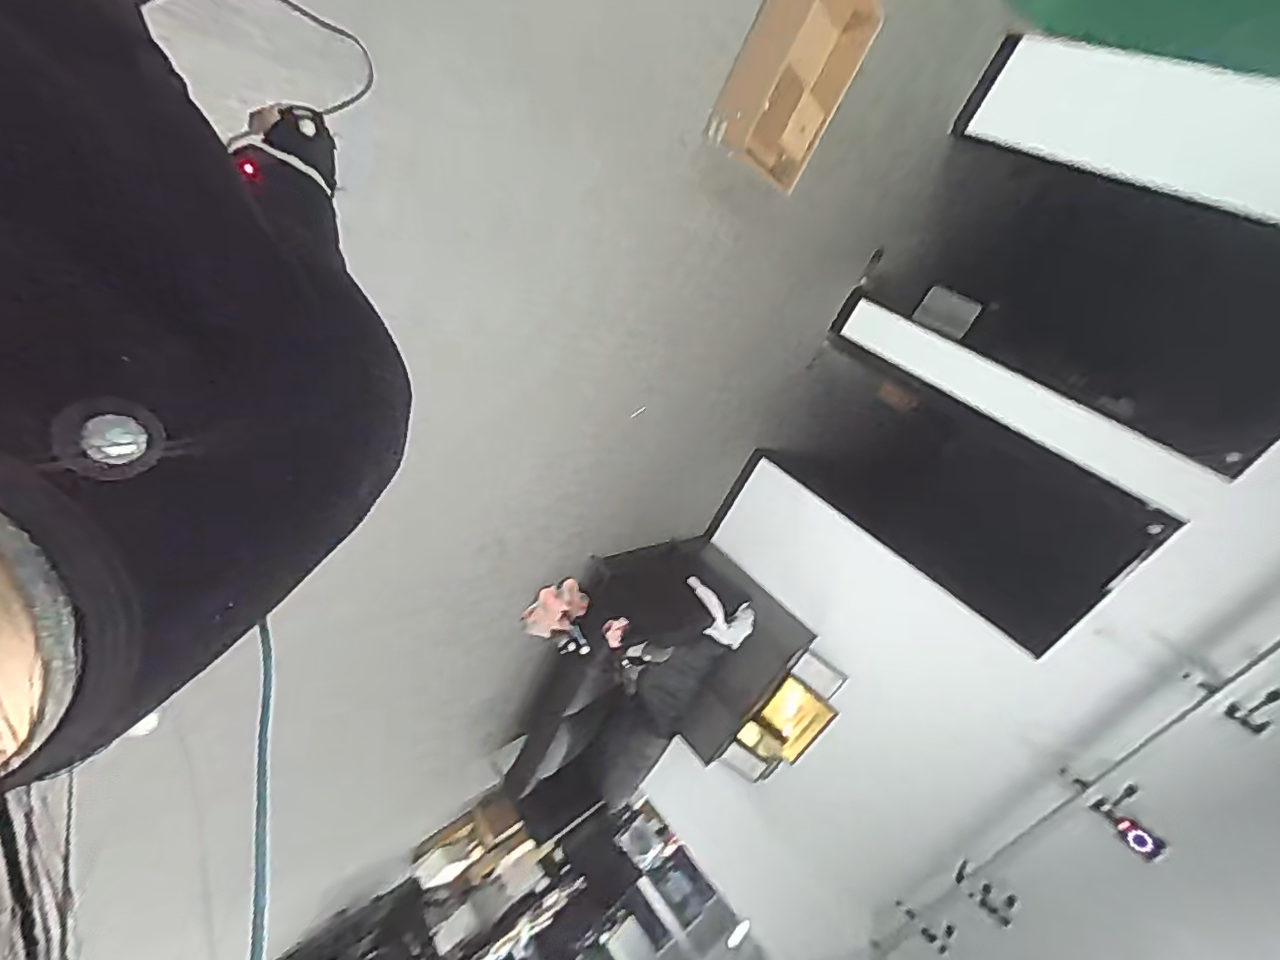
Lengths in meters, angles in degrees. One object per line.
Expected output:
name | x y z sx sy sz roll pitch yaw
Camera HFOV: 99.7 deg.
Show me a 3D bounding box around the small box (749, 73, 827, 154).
small box | 0.519 -1.292 1.902 0.179 0.176 0.168 -2 127 -50
